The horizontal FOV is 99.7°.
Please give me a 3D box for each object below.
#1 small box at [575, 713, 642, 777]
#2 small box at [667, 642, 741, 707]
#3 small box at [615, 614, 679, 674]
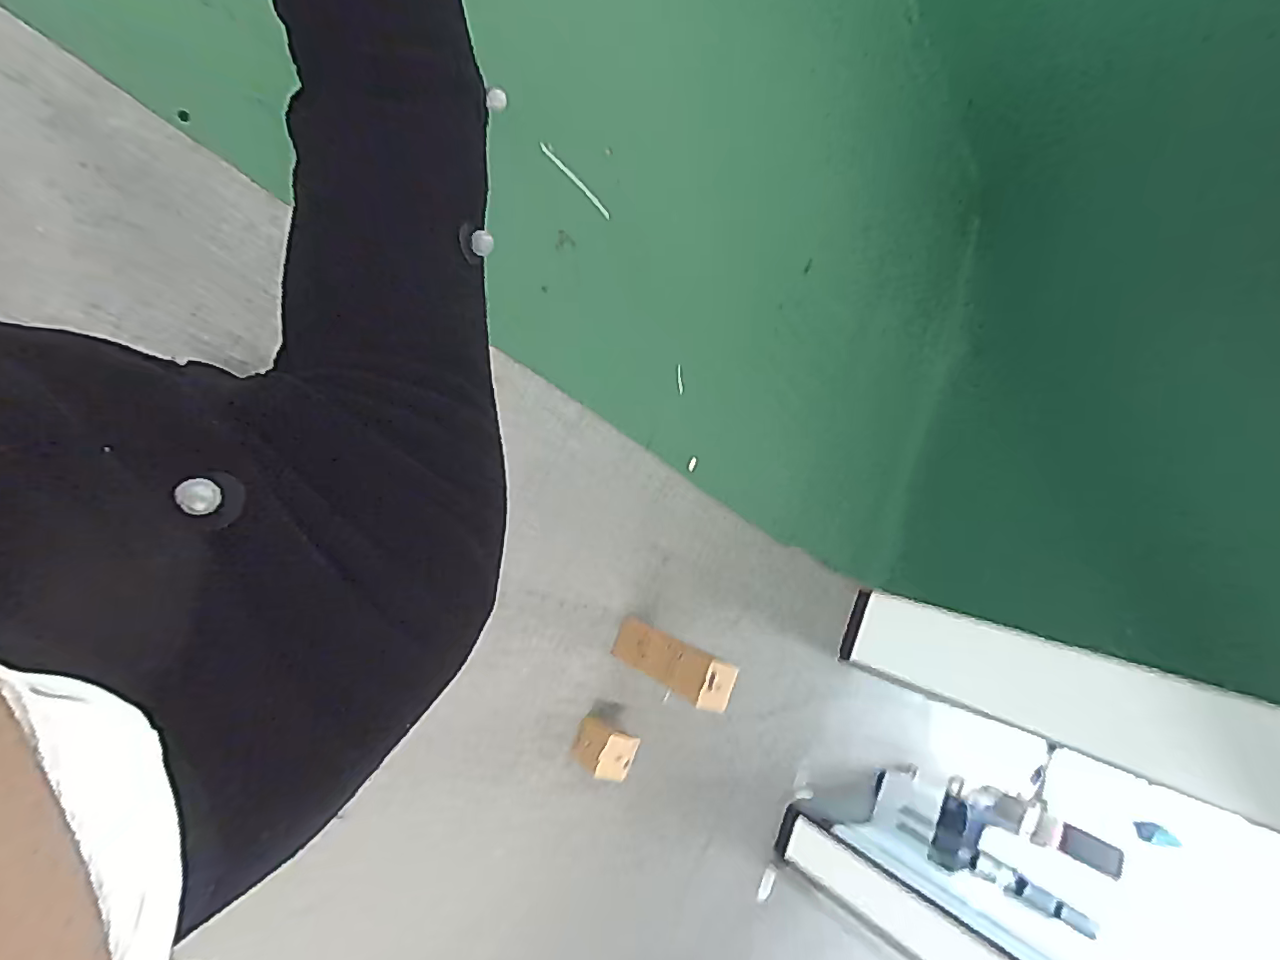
[{"bbox_3d":[-0.129,1.047,2.143,0.179,0.176,0.168,33,76,-38],"label":"small box"},{"bbox_3d":[0.227,0.699,1.956,0.179,0.176,0.168,30,78,-40],"label":"small box"},{"bbox_3d":[0.024,0.666,2.212,0.168,0.176,0.179,31,77,-39],"label":"small box"}]
